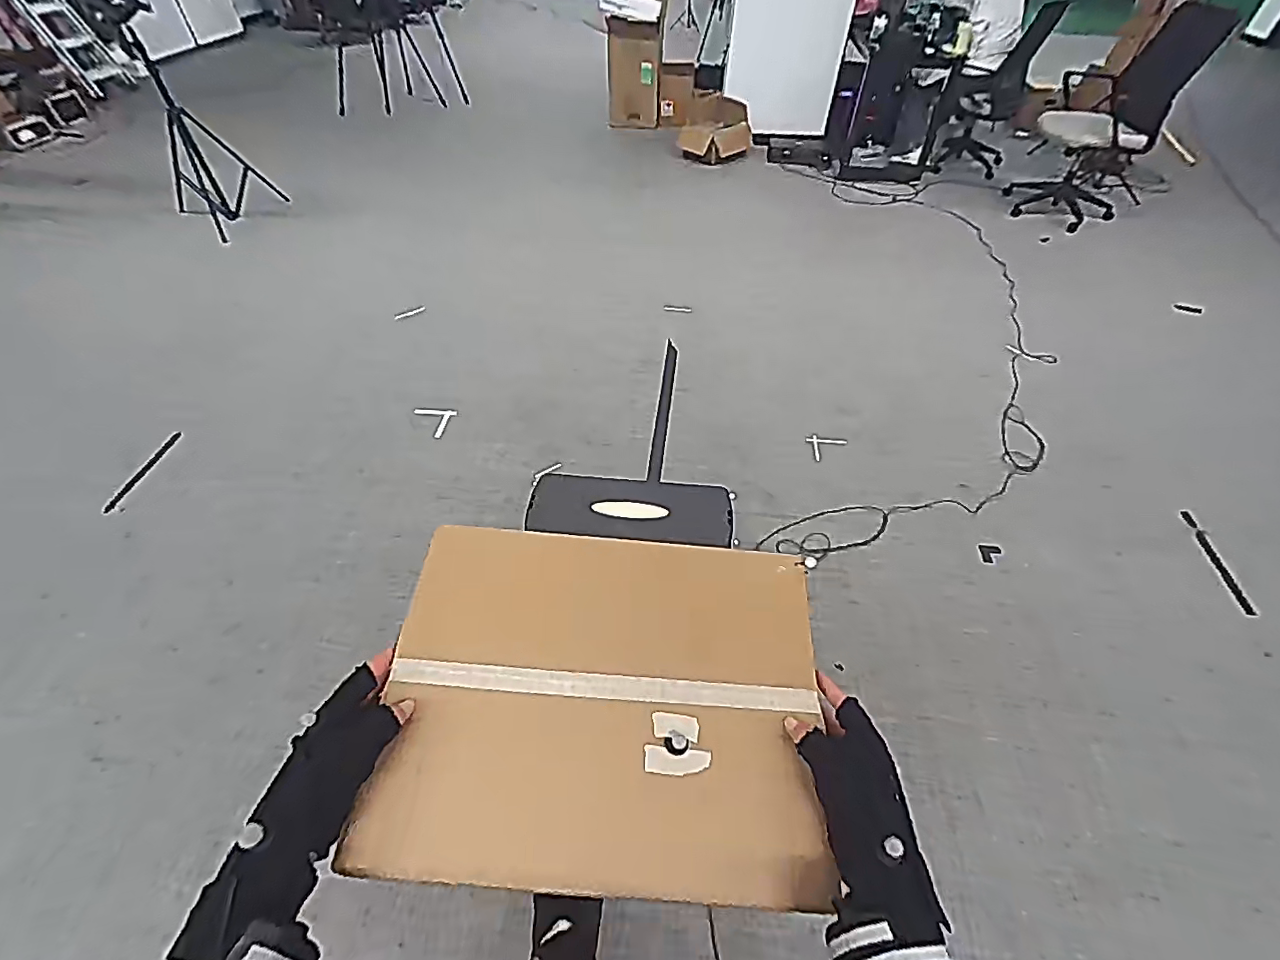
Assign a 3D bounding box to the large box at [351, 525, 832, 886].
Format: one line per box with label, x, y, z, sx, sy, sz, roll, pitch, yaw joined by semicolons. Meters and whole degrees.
large box;-0.042;0.274;0.645;0.408;0.320;0.320;6;56;-1
